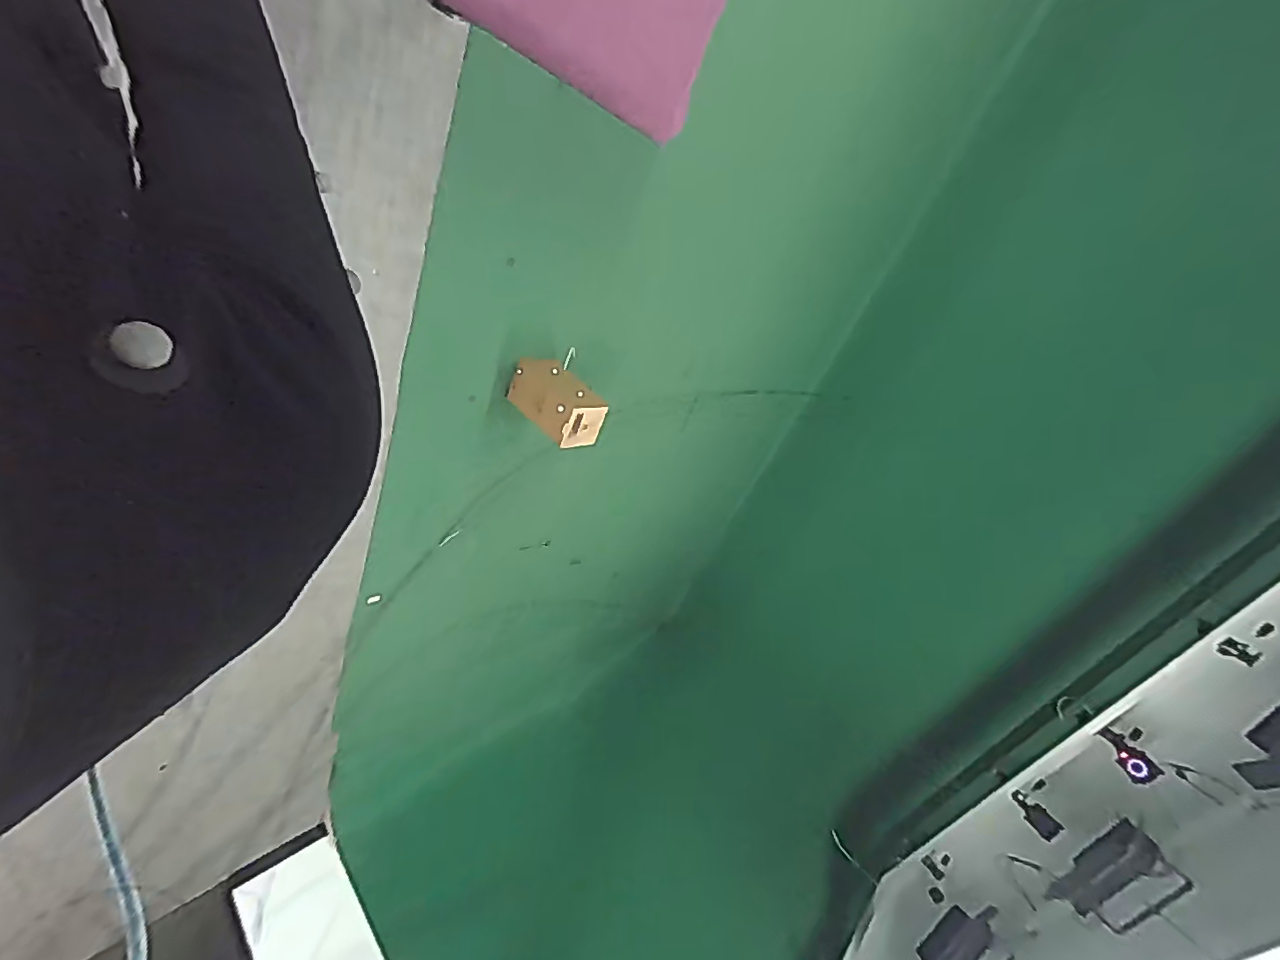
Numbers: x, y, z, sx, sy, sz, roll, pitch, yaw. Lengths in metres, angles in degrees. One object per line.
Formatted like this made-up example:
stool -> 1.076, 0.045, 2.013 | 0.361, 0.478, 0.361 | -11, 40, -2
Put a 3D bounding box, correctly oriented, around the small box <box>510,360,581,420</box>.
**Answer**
small box -> -0.357, -0.337, 2.021 | 0.179, 0.176, 0.168 | -11, 136, -49
